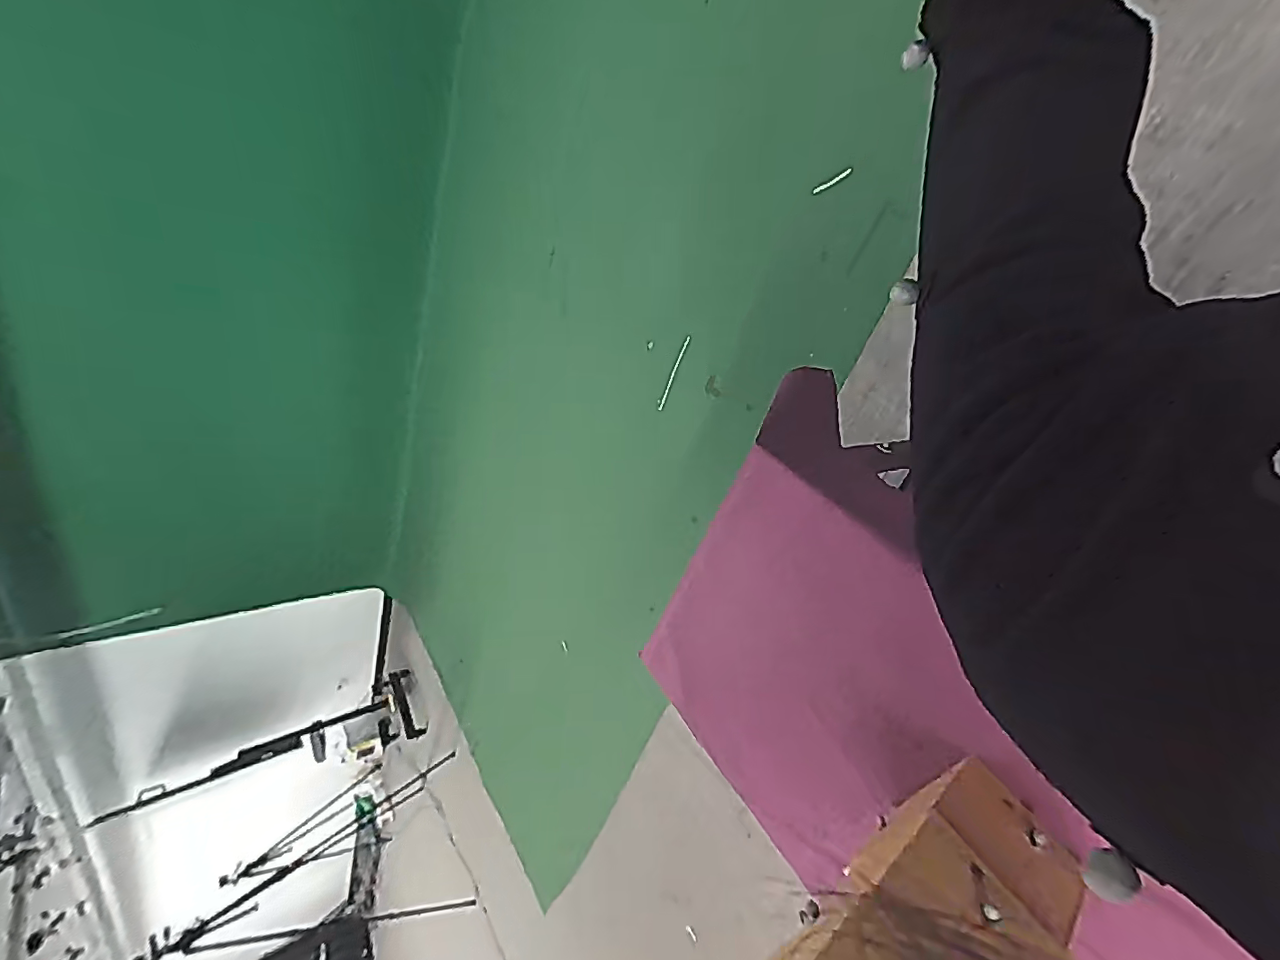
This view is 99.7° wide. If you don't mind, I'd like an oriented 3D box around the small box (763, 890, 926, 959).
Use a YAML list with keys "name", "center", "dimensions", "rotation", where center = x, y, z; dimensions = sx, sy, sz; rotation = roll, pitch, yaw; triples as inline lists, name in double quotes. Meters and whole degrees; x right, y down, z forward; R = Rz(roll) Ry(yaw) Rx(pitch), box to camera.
- name: "small box"
  center: [0.169, 0.494, 0.449]
  dimensions: [0.168, 0.176, 0.179]
  rotation: [48, 129, 33]

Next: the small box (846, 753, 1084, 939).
- name: "small box"
  center: [0.405, 0.485, 0.678]
  dimensions: [0.168, 0.176, 0.179]
  rotation: [49, 128, 32]

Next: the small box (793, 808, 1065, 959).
- name: "small box"
  center: [0.291, 0.490, 0.560]
  dimensions: [0.168, 0.176, 0.179]
  rotation: [47, 127, 33]
